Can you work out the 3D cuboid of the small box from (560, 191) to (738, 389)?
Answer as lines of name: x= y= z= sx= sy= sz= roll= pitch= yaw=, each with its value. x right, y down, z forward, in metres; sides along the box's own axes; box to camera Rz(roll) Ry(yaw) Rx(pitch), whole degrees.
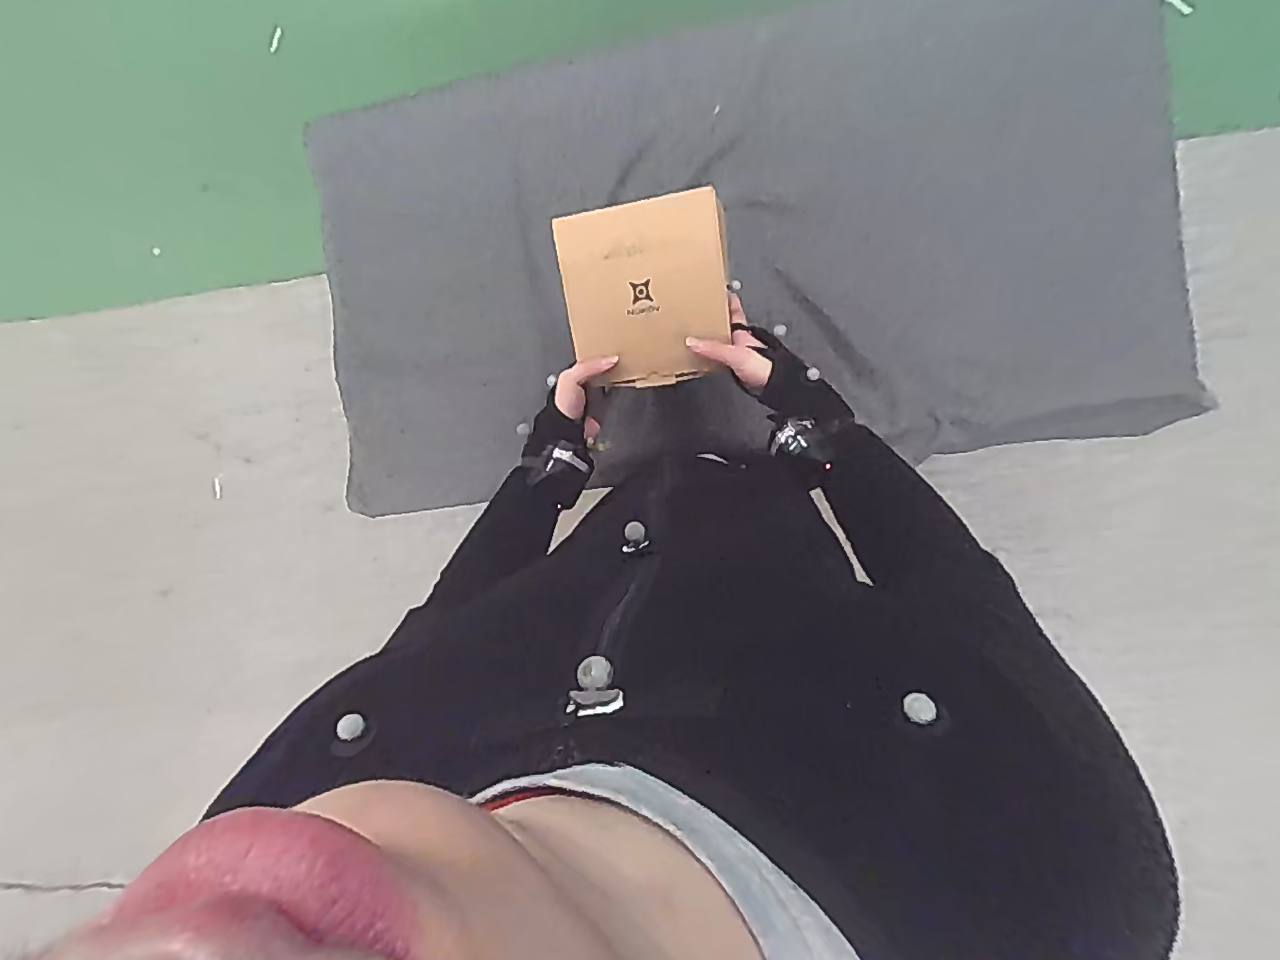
small box: x=0.024 y=-0.214 z=0.632 sx=0.168 sy=0.176 sz=0.179 roll=-5 pitch=107 yaw=13
